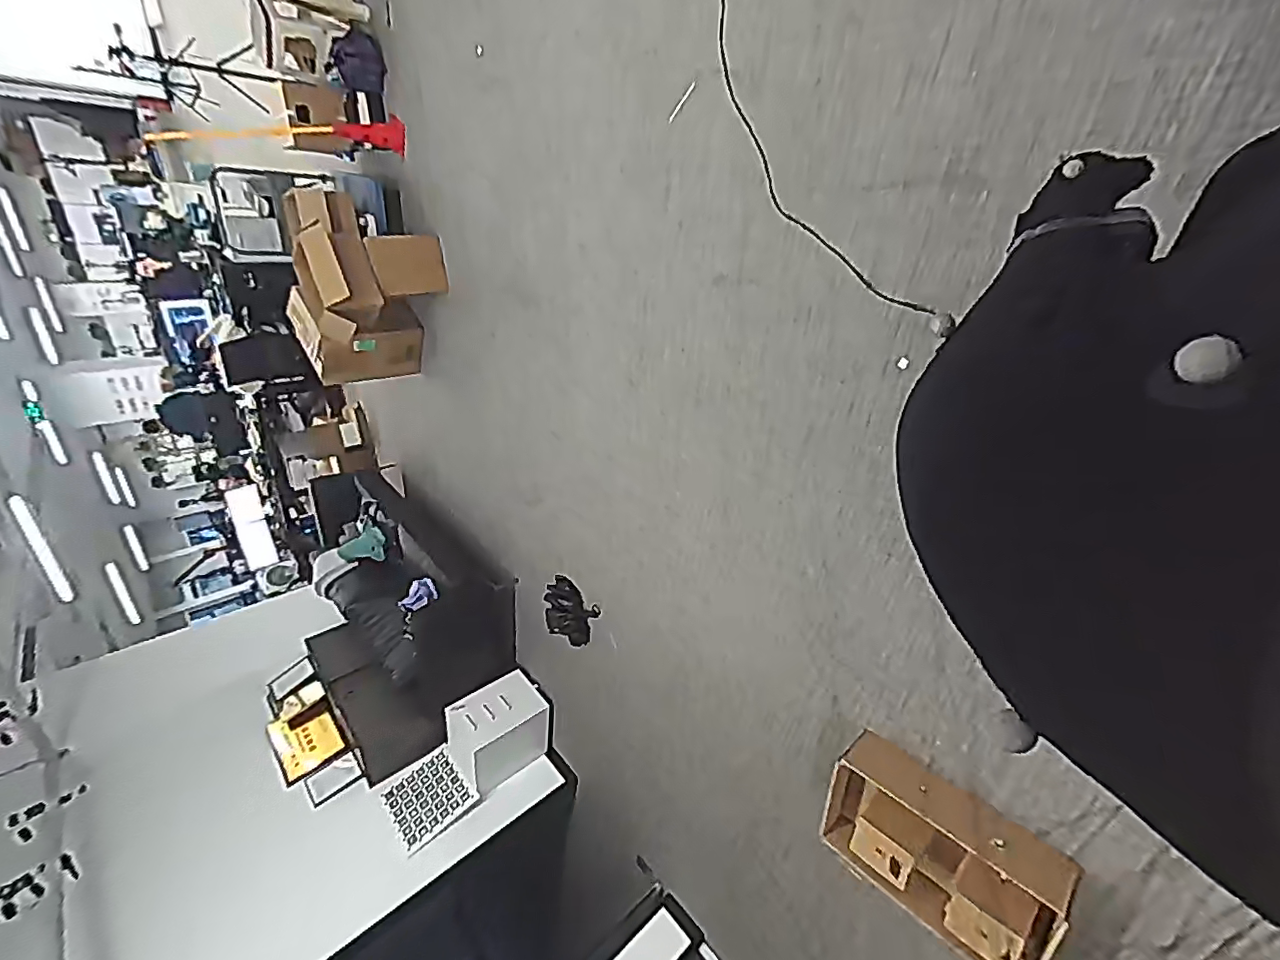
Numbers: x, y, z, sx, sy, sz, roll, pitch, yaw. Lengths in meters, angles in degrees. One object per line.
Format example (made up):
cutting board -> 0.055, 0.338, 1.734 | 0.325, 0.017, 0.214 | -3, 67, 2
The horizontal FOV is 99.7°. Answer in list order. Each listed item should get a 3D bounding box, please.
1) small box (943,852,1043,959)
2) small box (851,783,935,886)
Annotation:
small box -> 0.992, 1.196, 1.521 | 0.179, 0.176, 0.168 | 22, 123, 45
small box -> 0.801, 1.111, 1.708 | 0.179, 0.176, 0.168 | 26, 124, 40
